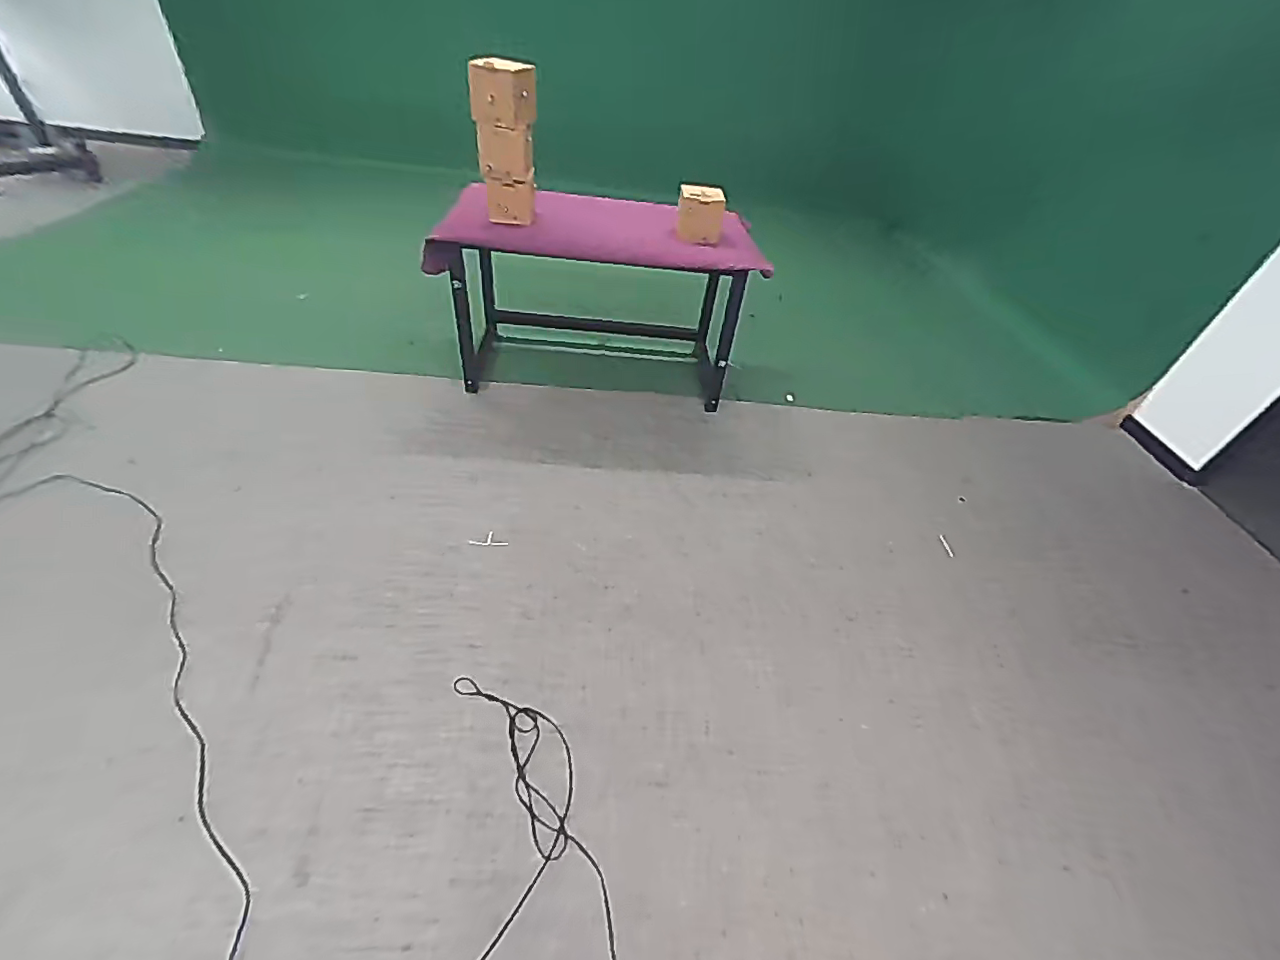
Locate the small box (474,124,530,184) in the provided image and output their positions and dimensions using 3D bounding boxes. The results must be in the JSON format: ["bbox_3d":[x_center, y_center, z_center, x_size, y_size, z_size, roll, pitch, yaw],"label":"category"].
[{"bbox_3d":[-0.504,-1.219,2.005,0.168,0.176,0.179,6,43,-4],"label":"small box"}]

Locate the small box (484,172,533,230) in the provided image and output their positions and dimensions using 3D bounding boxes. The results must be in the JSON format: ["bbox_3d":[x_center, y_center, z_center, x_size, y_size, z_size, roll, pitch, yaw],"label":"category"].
[{"bbox_3d":[-0.514,-1.110,2.129,0.168,0.176,0.179,3,44,-7],"label":"small box"}]

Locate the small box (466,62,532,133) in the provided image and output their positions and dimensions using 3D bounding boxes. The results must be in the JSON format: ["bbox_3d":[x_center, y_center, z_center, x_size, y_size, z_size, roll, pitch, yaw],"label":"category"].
[{"bbox_3d":[-0.485,-1.339,1.895,0.168,0.176,0.179,18,45,9],"label":"small box"}]
